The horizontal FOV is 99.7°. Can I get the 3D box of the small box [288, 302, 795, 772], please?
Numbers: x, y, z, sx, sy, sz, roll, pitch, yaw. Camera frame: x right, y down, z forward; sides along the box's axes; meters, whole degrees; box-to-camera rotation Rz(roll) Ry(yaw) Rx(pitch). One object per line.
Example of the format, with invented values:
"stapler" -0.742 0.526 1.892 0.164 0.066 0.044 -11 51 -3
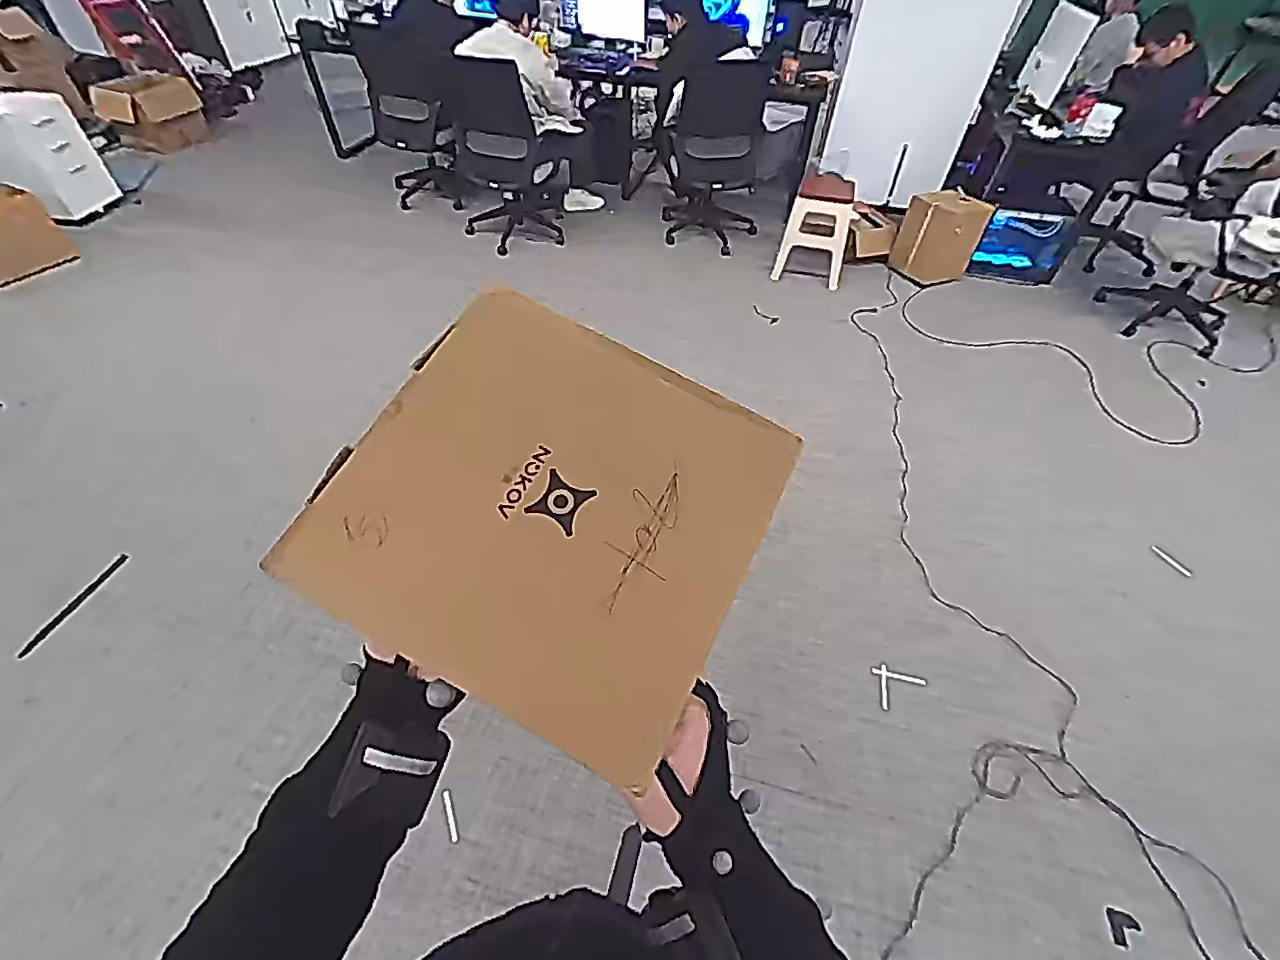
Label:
"small box" -0.043 0.039 0.319 0.179 0.176 0.168 27 70 4
